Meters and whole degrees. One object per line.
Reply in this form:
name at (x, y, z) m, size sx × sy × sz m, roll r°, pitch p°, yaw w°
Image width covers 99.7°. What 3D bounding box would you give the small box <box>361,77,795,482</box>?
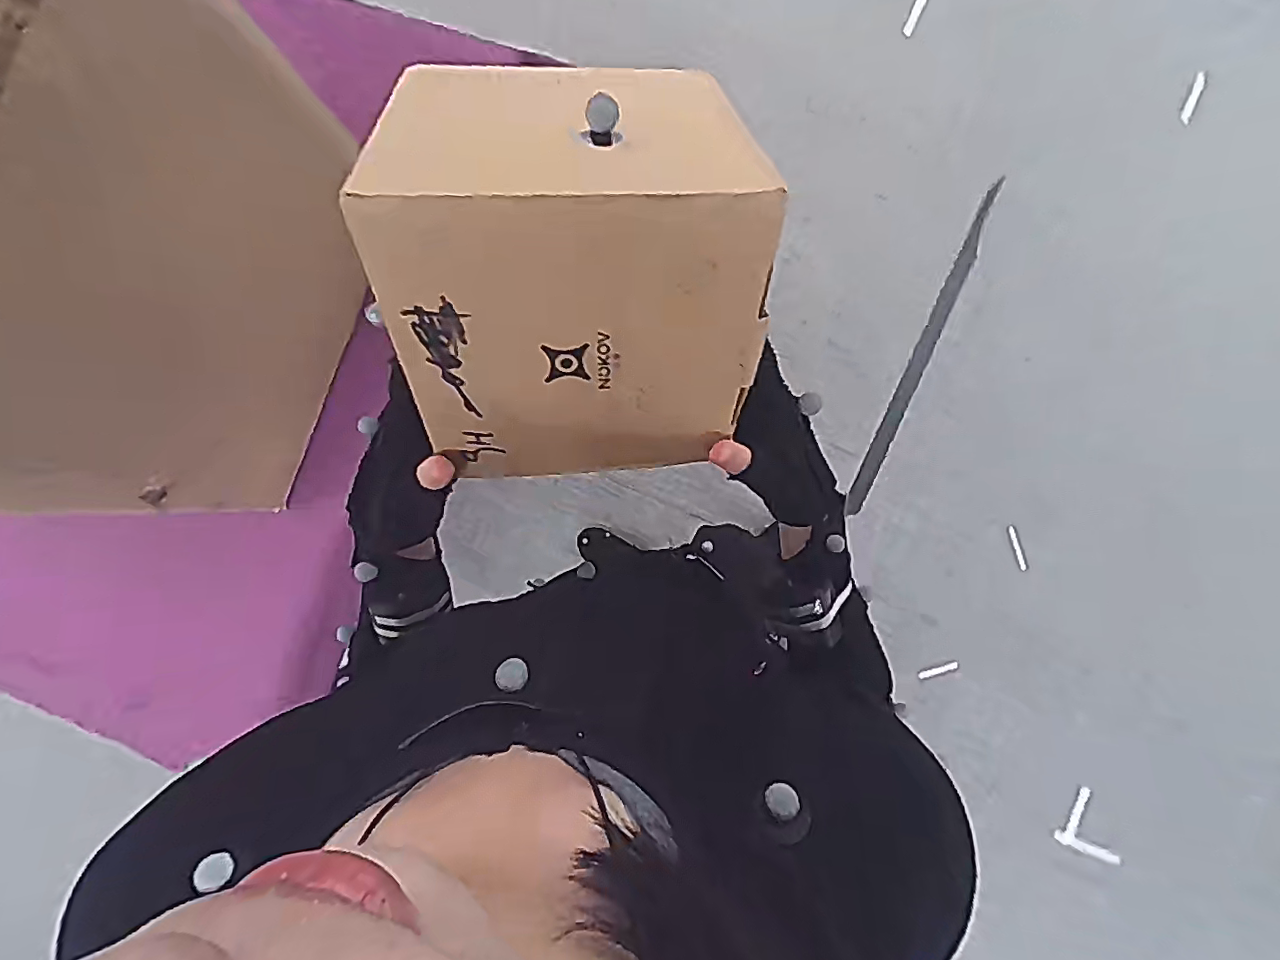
small box at (-0.036, -0.119, 0.322) m, size 0.179 × 0.168 × 0.176 m, roll -4°, pitch 49°, yaw -7°
